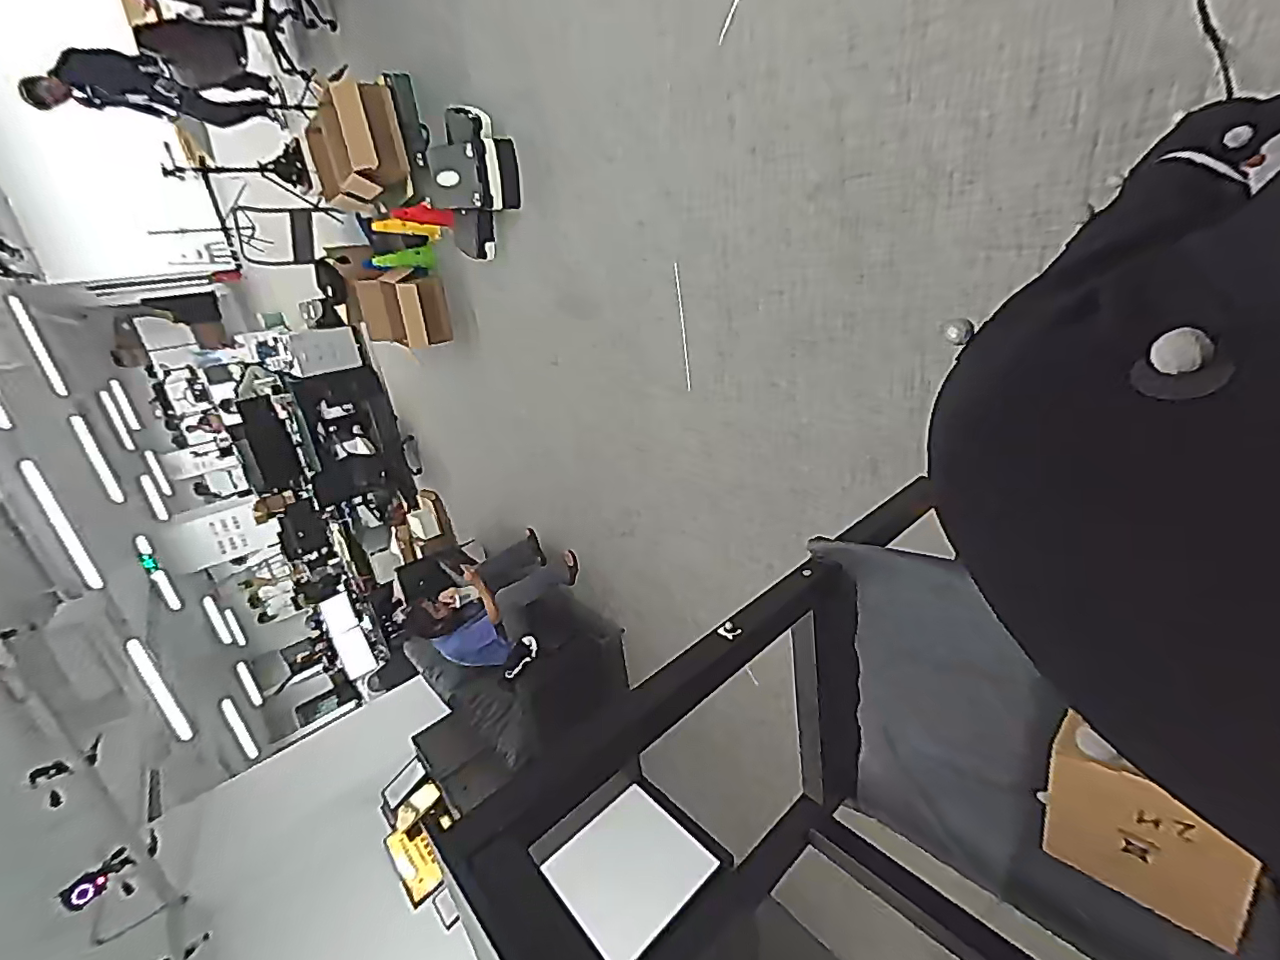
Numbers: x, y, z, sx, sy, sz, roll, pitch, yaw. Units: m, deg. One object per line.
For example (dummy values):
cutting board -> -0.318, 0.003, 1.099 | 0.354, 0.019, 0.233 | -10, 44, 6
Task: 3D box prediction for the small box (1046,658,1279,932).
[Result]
small box -> 0.604, 0.347, 0.631 | 0.168, 0.176, 0.179 | 13, 120, 48
